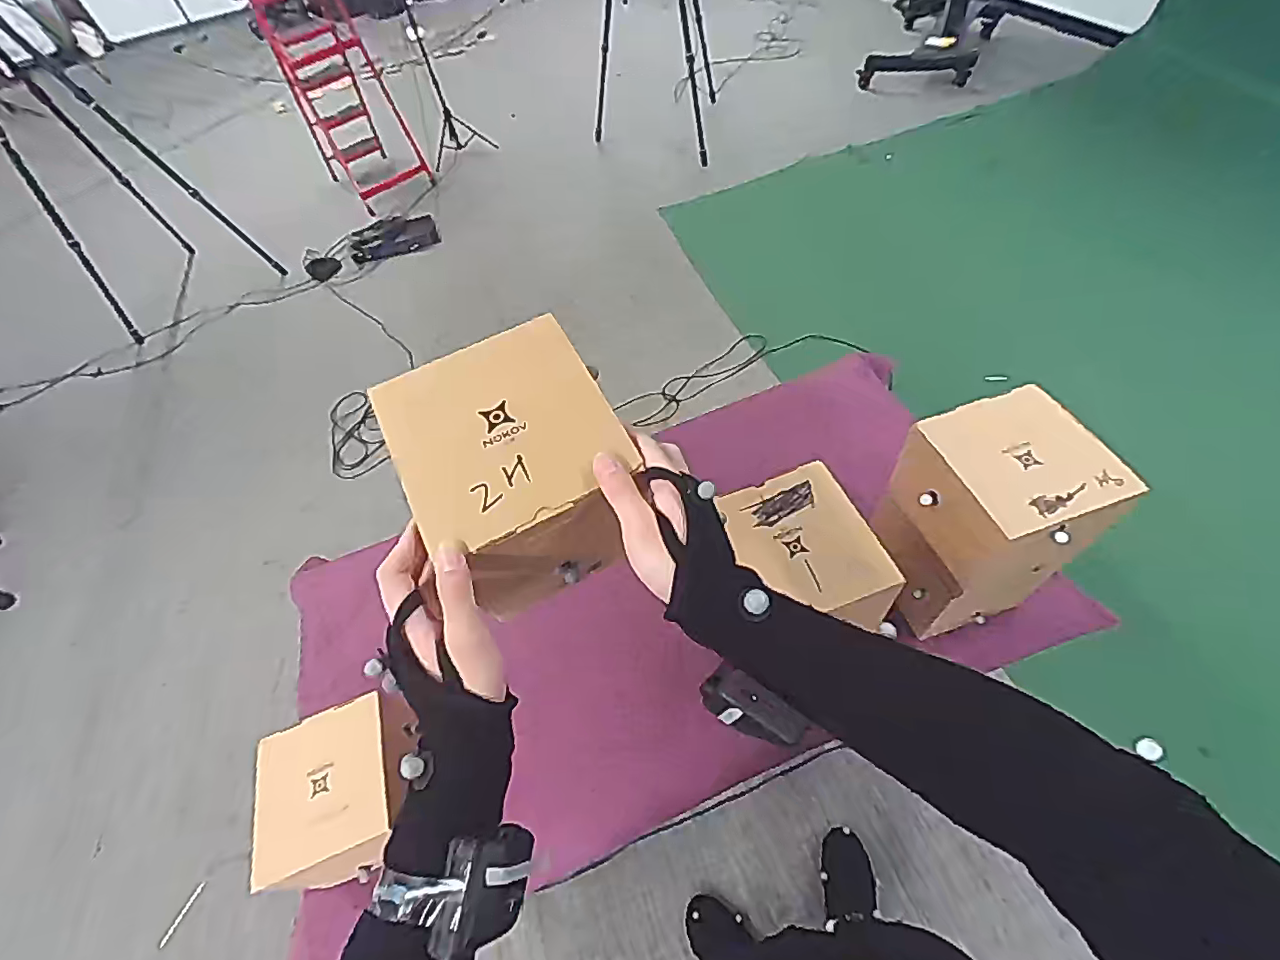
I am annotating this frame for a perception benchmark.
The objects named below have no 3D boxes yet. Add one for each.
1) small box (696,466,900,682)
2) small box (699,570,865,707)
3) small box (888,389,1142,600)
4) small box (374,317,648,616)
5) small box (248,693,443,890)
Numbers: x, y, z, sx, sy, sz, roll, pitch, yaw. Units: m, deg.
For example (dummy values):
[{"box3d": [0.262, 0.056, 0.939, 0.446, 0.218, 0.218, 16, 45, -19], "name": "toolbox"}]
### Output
[{"box3d": [0.176, 0.118, 0.660, 0.168, 0.176, 0.179, -20, 54, -4], "name": "small box"}, {"box3d": [0.198, 0.214, 0.792, 0.168, 0.176, 0.179, -20, 53, -4], "name": "small box"}, {"box3d": [0.441, 0.022, 0.678, 0.168, 0.176, 0.179, -19, 54, -2], "name": "small box"}, {"box3d": [-0.103, -0.004, 0.486, 0.168, 0.176, 0.179, -26, 65, -10], "name": "small box"}, {"box3d": [-0.389, 0.425, 0.738, 0.168, 0.176, 0.179, -22, 55, -6], "name": "small box"}]
